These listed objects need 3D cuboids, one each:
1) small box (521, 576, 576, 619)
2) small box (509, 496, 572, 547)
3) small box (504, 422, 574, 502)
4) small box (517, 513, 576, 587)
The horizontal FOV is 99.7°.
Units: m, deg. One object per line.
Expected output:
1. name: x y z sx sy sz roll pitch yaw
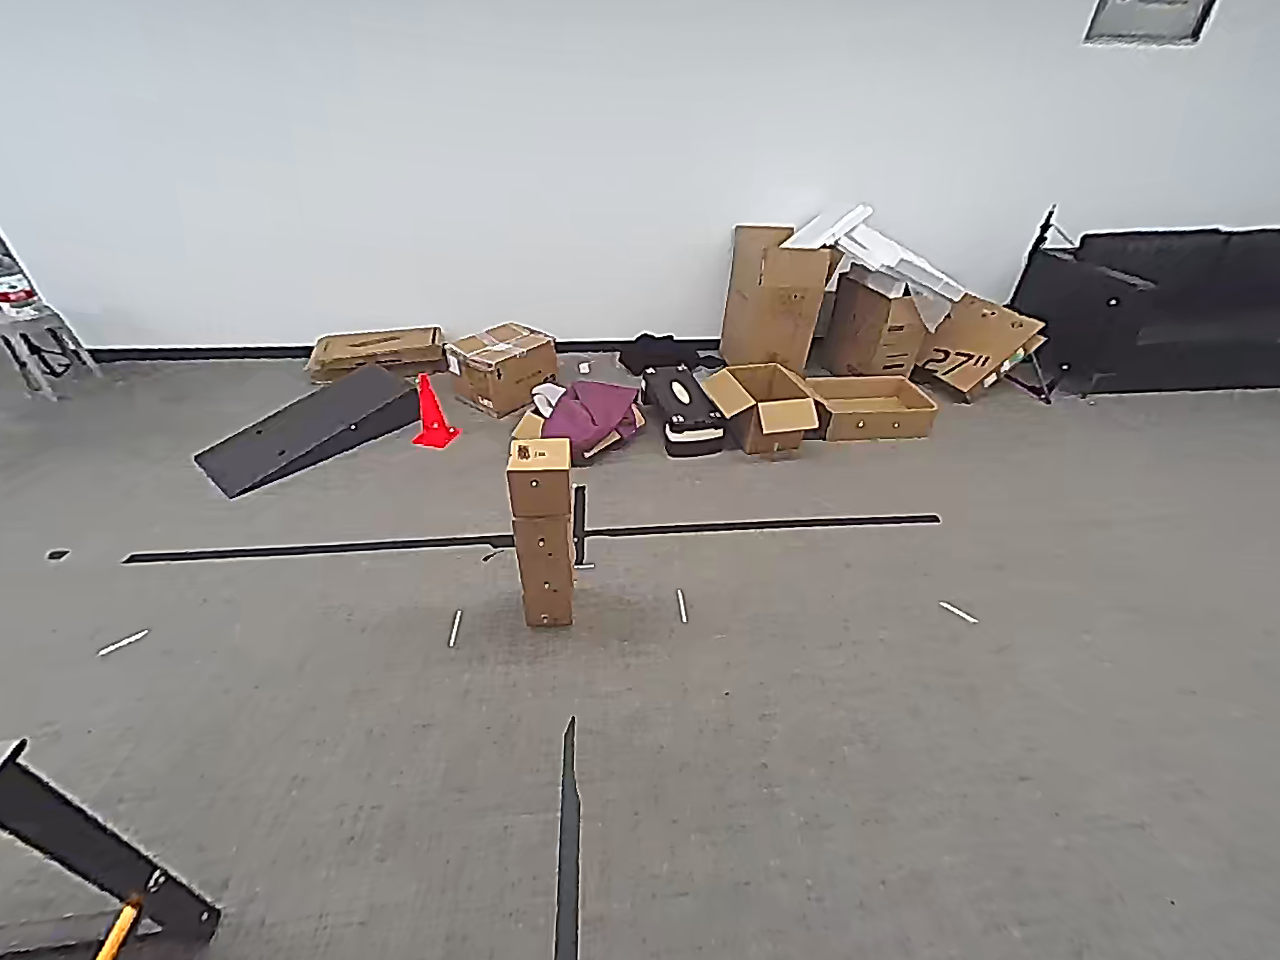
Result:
1. small box: -0.307 0.348 1.834 0.168 0.176 0.179 -3 38 -5
2. small box: -0.292 0.090 1.631 0.168 0.176 0.179 -2 37 -4
3. small box: -0.282 -0.050 1.541 0.179 0.176 0.168 -3 36 -6
4. small box: -0.295 0.220 1.729 0.168 0.176 0.179 -3 37 -4
